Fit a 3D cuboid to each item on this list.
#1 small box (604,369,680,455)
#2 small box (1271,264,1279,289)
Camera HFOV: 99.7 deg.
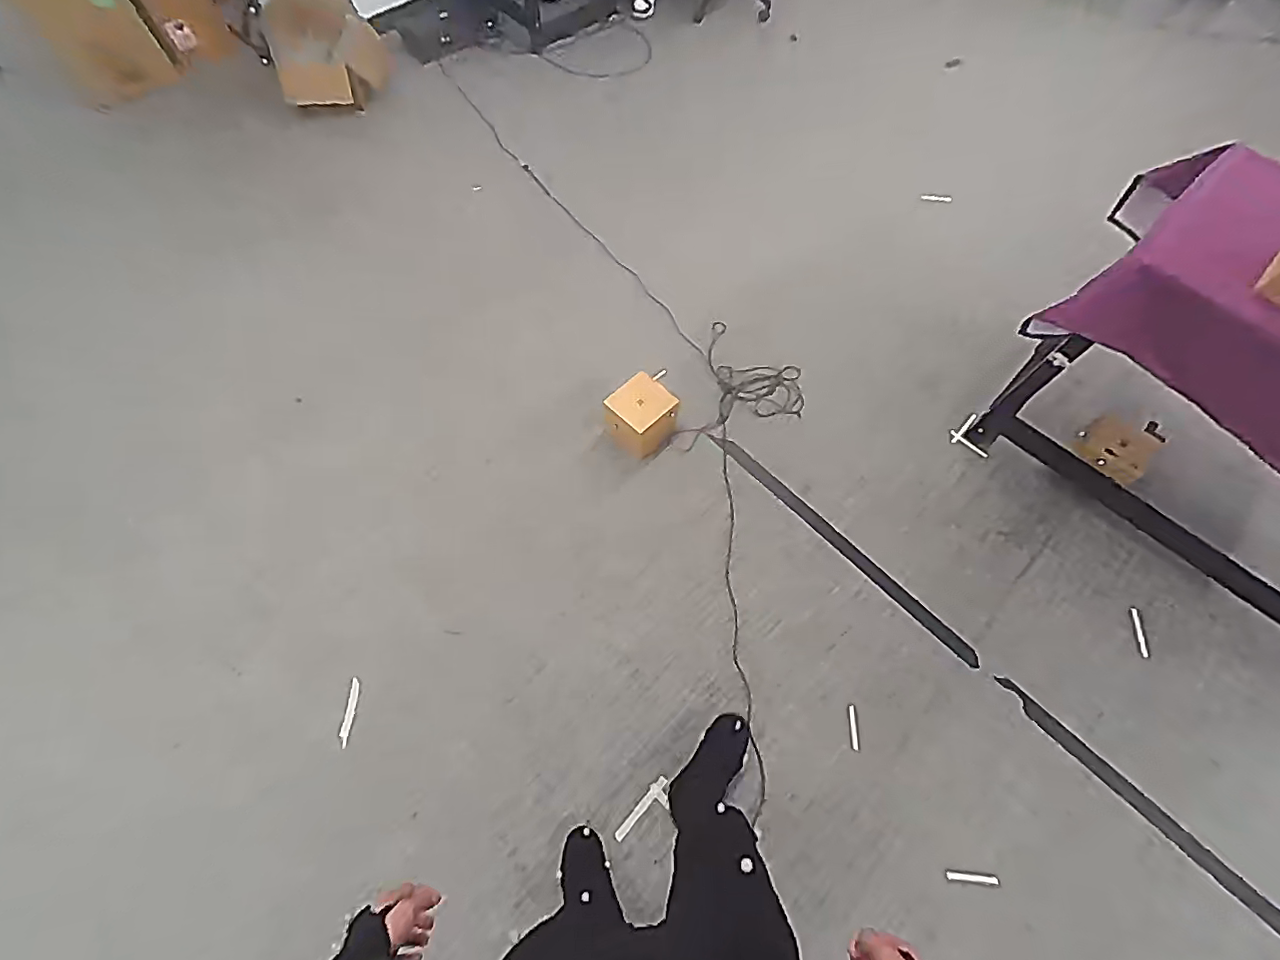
[{"bbox_3d":[0.008,-0.210,1.714,0.168,0.176,0.179,42,70,17],"label":"small box"},{"bbox_3d":[1.402,-0.441,1.039,0.179,0.176,0.168,-41,71,-18],"label":"small box"}]
